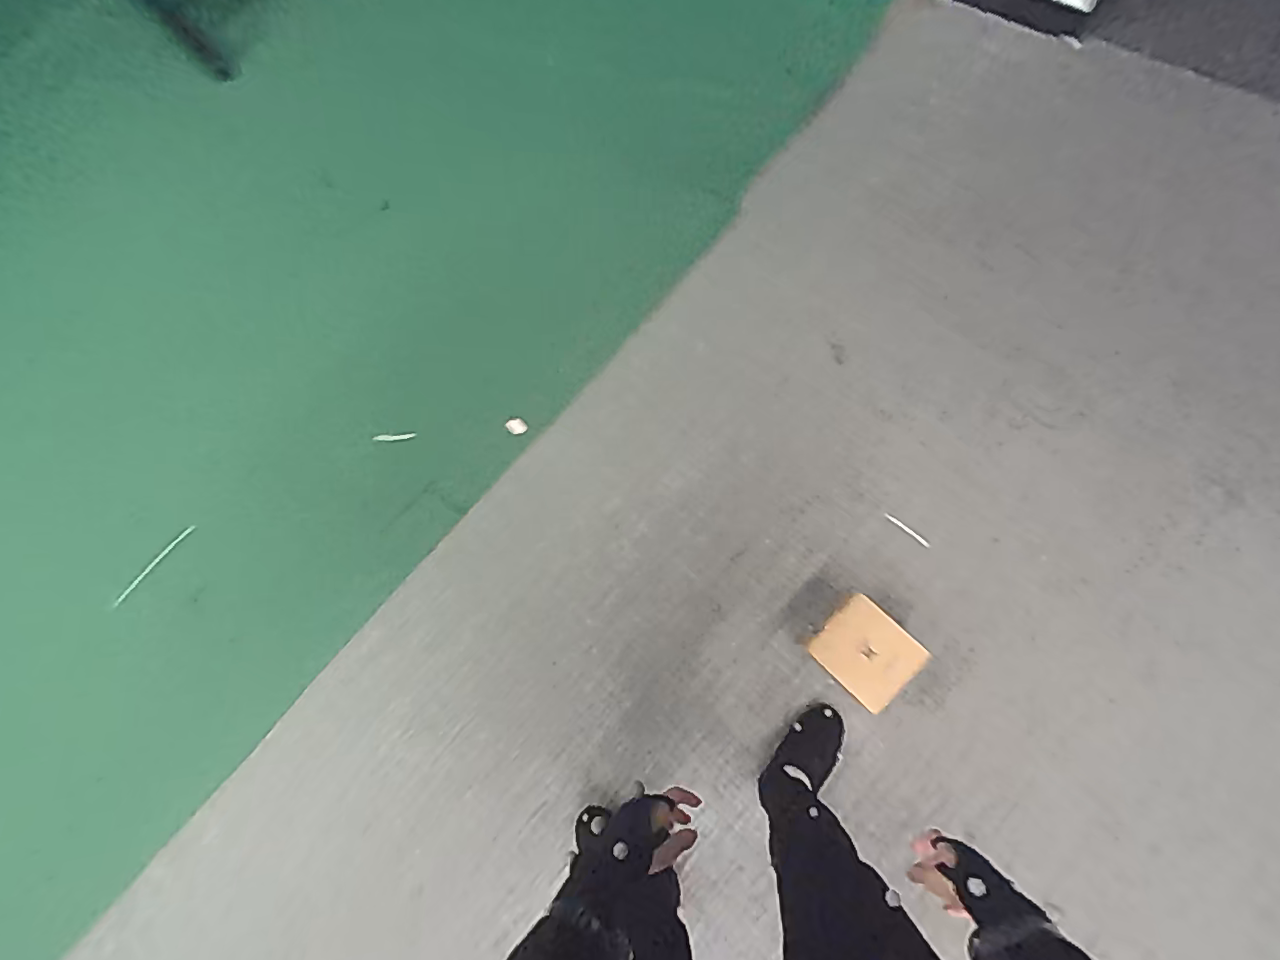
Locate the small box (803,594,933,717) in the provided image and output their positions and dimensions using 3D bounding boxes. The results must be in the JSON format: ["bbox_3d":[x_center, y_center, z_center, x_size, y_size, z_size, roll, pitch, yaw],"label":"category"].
[{"bbox_3d":[0.466,0.366,1.143,0.168,0.176,0.179,-44,72,-3],"label":"small box"}]
